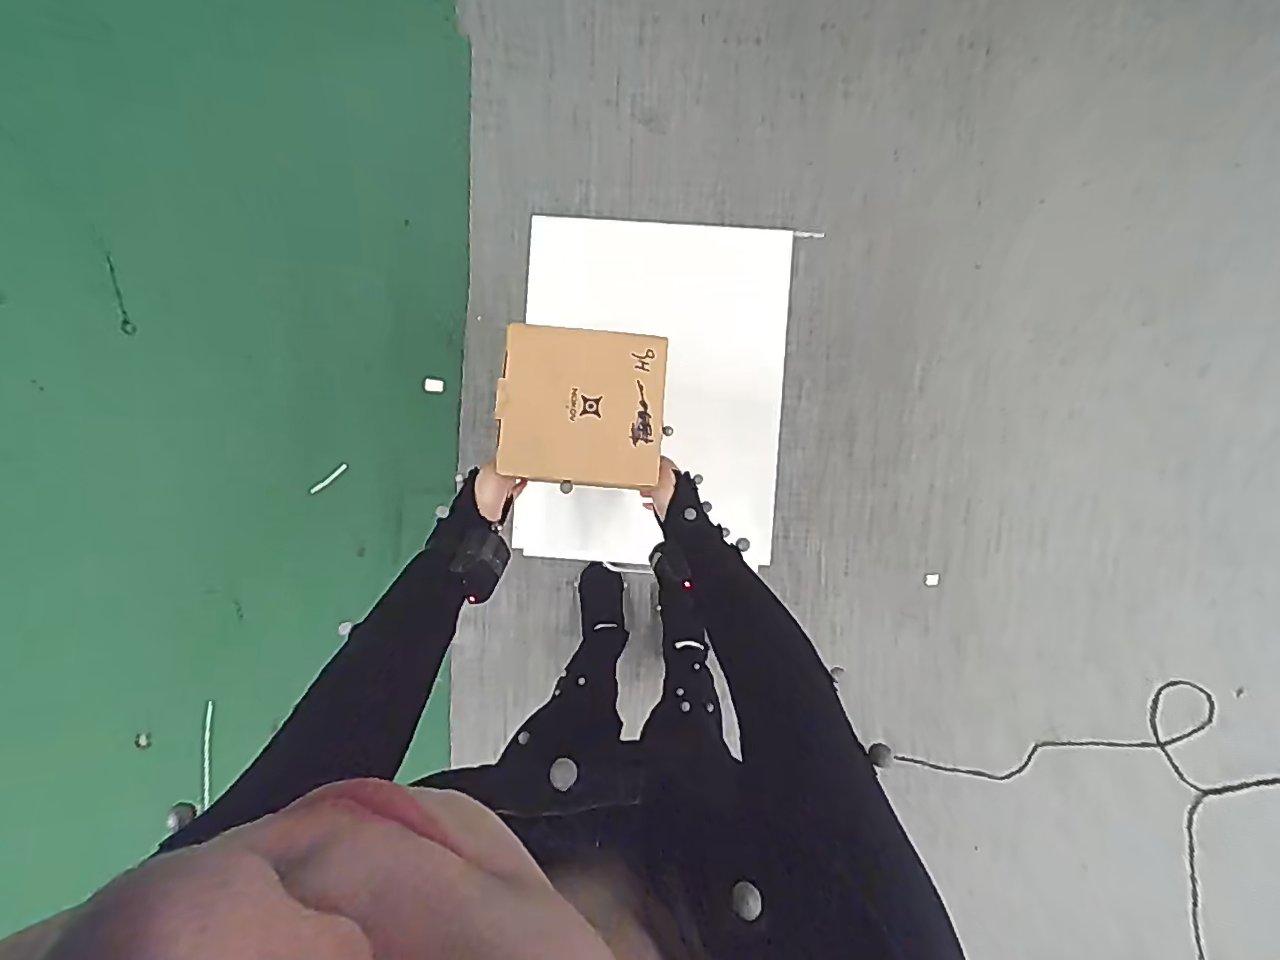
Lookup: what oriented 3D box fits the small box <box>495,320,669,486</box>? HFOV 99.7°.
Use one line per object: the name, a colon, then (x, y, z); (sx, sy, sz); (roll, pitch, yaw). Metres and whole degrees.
small box: (-0.064, -0.081, 0.655); (0.179, 0.176, 0.168); (4, 89, -3)
